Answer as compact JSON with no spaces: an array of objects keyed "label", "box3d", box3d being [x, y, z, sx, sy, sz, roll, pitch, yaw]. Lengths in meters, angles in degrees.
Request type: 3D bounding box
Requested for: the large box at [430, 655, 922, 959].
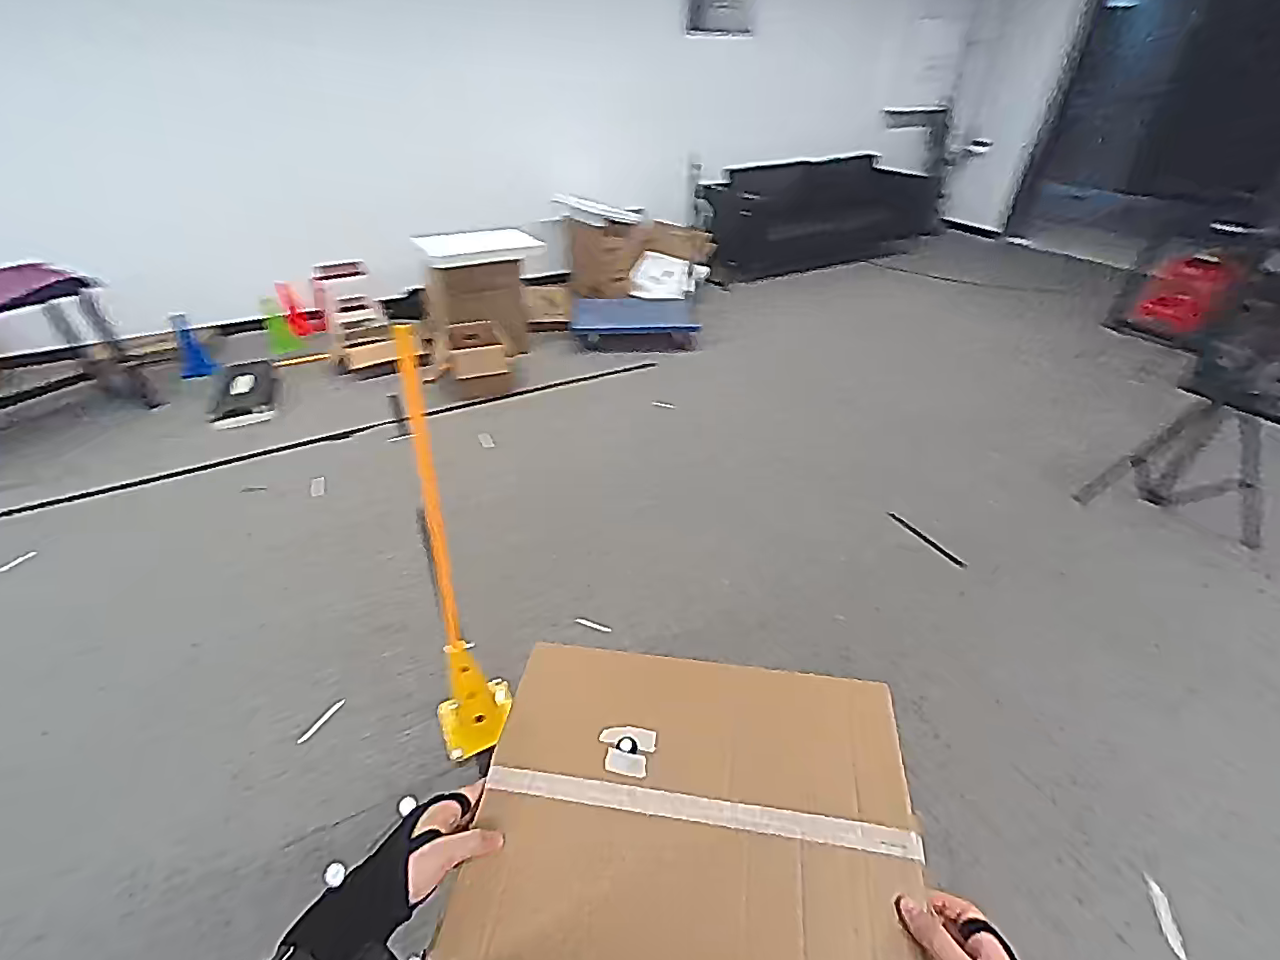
[{"label":"large box","box3d":[0.052,0.428,0.615,0.408,0.320,0.320,1,41,10]}]
